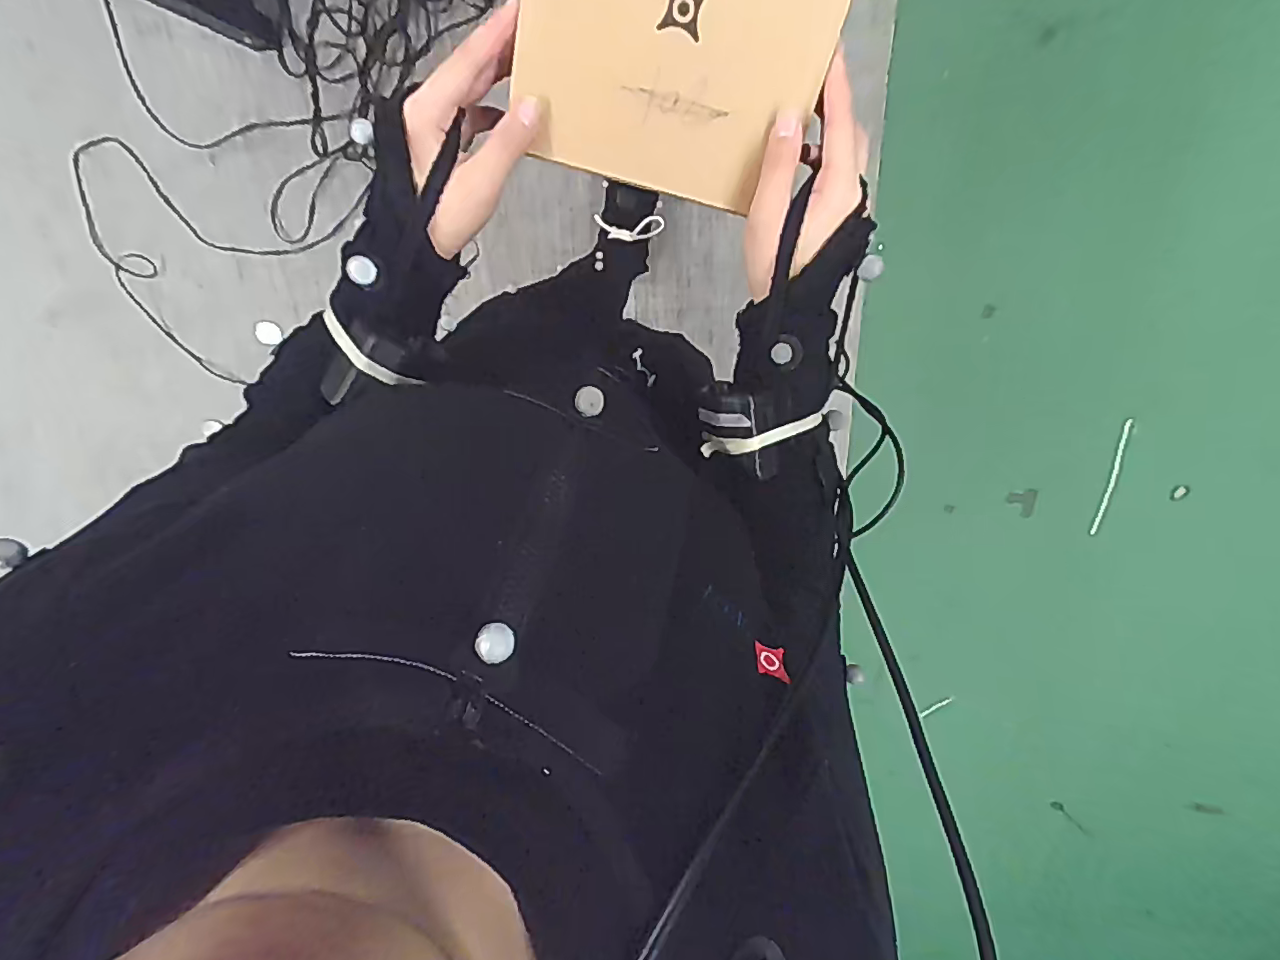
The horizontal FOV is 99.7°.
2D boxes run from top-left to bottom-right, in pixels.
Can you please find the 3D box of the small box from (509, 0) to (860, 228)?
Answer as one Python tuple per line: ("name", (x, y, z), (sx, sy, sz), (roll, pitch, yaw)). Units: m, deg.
("small box", (0.027, -0.278, 0.340), (0.168, 0.176, 0.179), (13, 119, -5))
